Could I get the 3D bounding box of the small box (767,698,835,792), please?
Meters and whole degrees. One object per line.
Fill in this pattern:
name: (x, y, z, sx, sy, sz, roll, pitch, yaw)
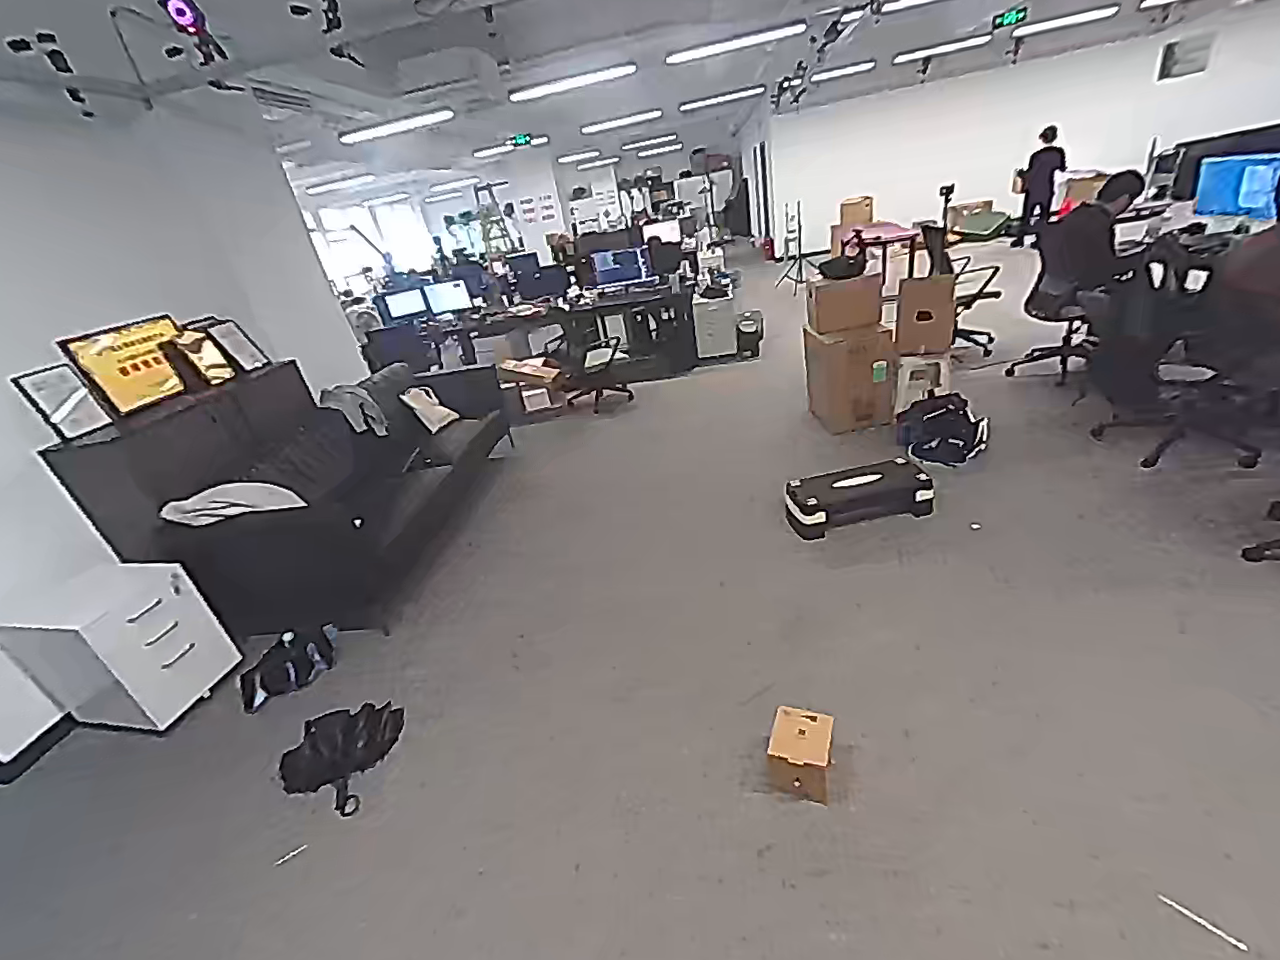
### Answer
small box: (0.488, 0.794, 1.619, 0.168, 0.176, 0.179, 2, 31, 26)
